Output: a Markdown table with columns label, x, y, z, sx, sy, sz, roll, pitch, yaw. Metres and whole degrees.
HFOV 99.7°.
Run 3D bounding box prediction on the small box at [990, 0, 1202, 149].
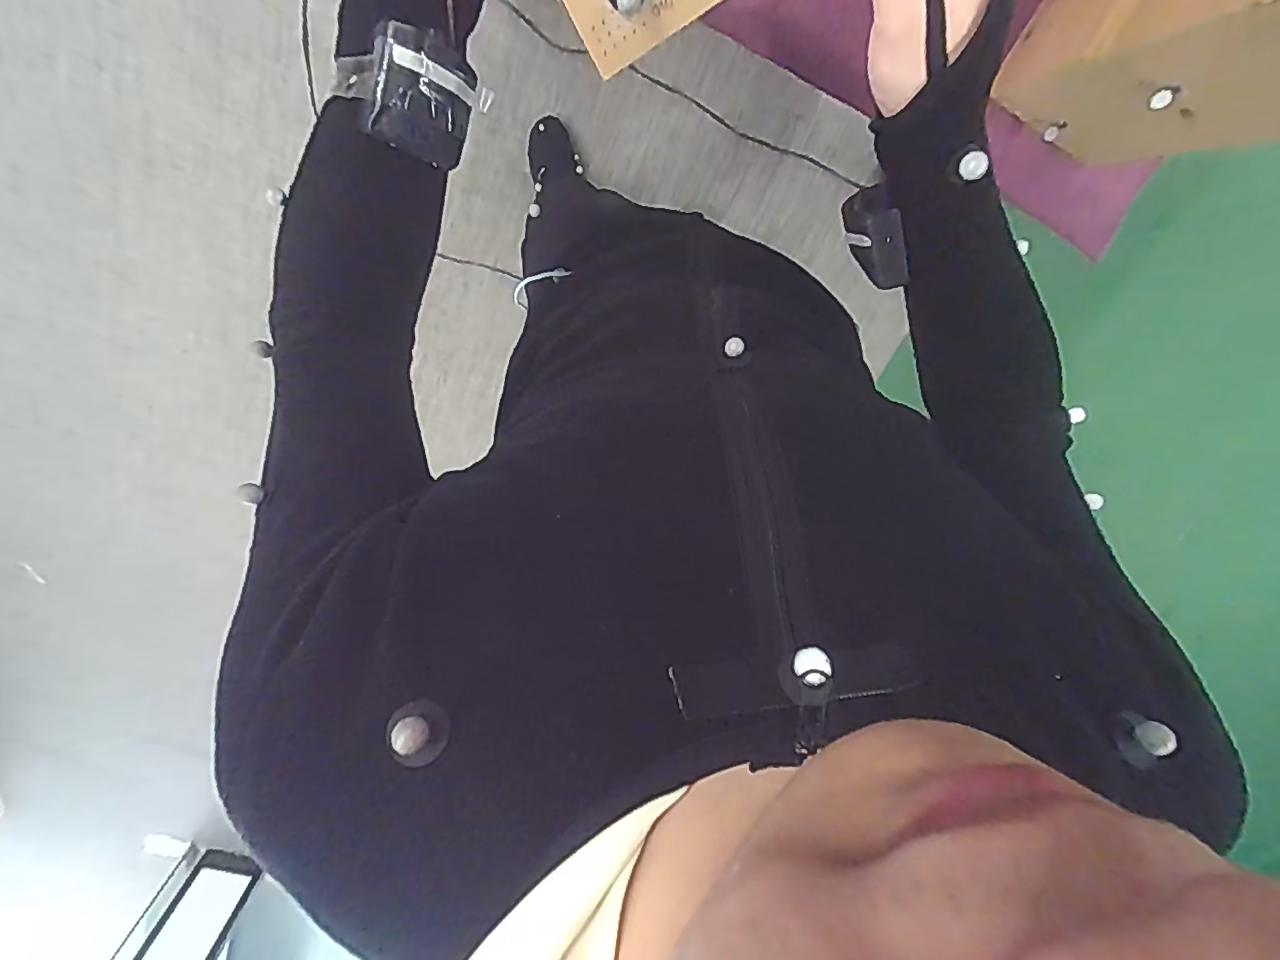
| label | x | y | z | sx | sy | sz | roll | pitch | yaw |
| --- | --- | --- | --- | --- | --- | --- | --- | --- | --- |
| small box | 0.534 | -0.481 | 0.575 | 0.179 | 0.176 | 0.168 | 25 | 113 | -11 |
